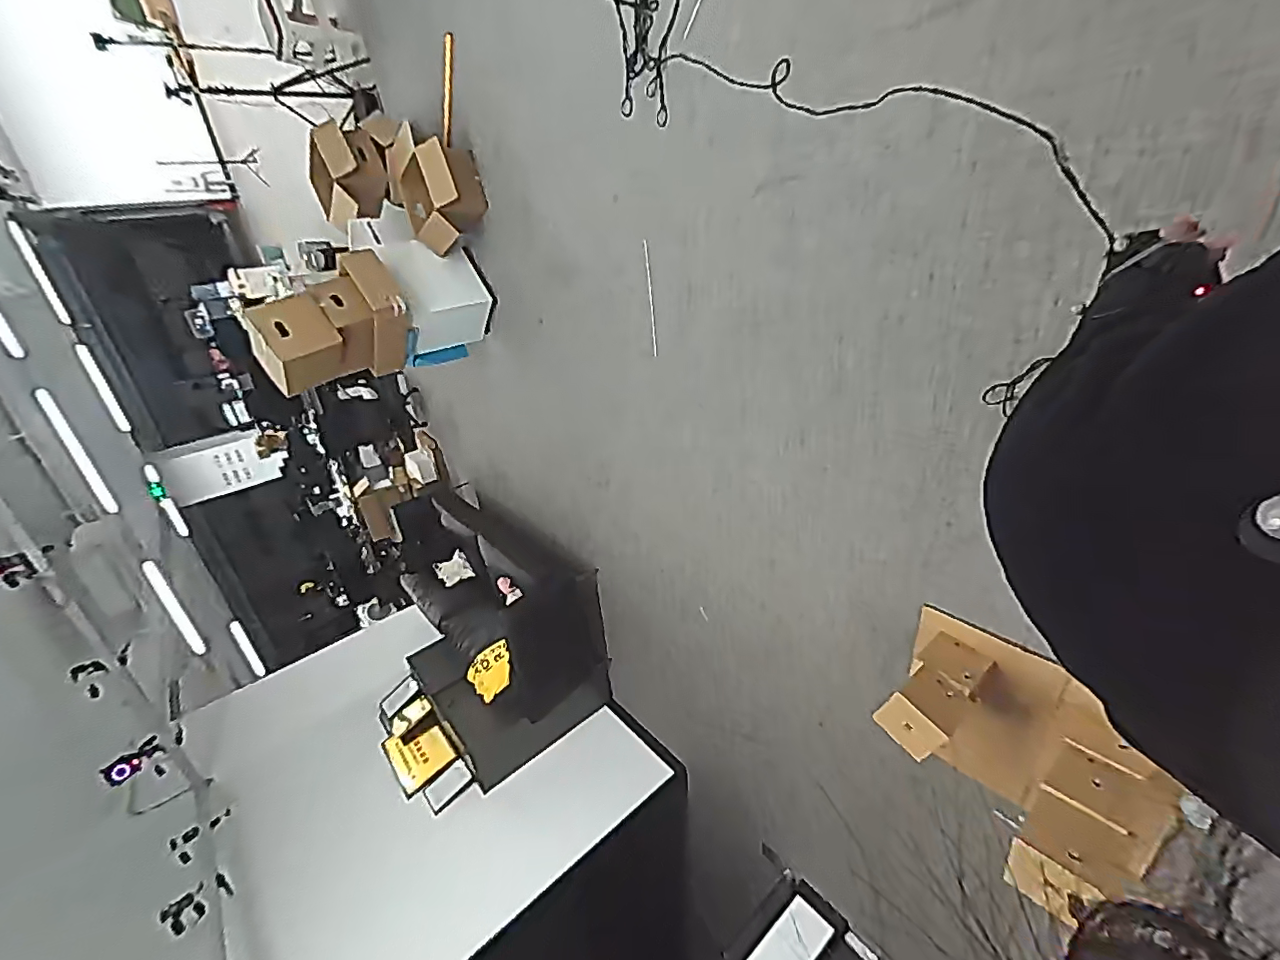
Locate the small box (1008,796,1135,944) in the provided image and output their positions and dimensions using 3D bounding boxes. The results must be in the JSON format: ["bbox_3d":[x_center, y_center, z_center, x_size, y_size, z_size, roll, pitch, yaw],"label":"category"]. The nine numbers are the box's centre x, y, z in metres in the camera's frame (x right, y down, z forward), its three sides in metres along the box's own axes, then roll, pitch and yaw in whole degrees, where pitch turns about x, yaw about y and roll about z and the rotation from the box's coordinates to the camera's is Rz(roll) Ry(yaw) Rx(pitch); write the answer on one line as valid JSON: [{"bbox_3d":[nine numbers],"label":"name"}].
[{"bbox_3d":[0.975,0.868,1.222,0.179,0.176,0.168,22,128,47],"label":"small box"}]

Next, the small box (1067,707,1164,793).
[{"bbox_3d":[1.216,0.732,1.400,0.168,0.176,0.179,22,129,46],"label":"small box"}]

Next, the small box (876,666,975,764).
[{"bbox_3d":[0.841,0.688,1.591,0.168,0.176,0.179,44,141,31],"label":"small box"}]

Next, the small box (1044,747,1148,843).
[{"bbox_3d":[1.093,0.796,1.312,0.168,0.176,0.179,23,129,47],"label":"small box"}]
